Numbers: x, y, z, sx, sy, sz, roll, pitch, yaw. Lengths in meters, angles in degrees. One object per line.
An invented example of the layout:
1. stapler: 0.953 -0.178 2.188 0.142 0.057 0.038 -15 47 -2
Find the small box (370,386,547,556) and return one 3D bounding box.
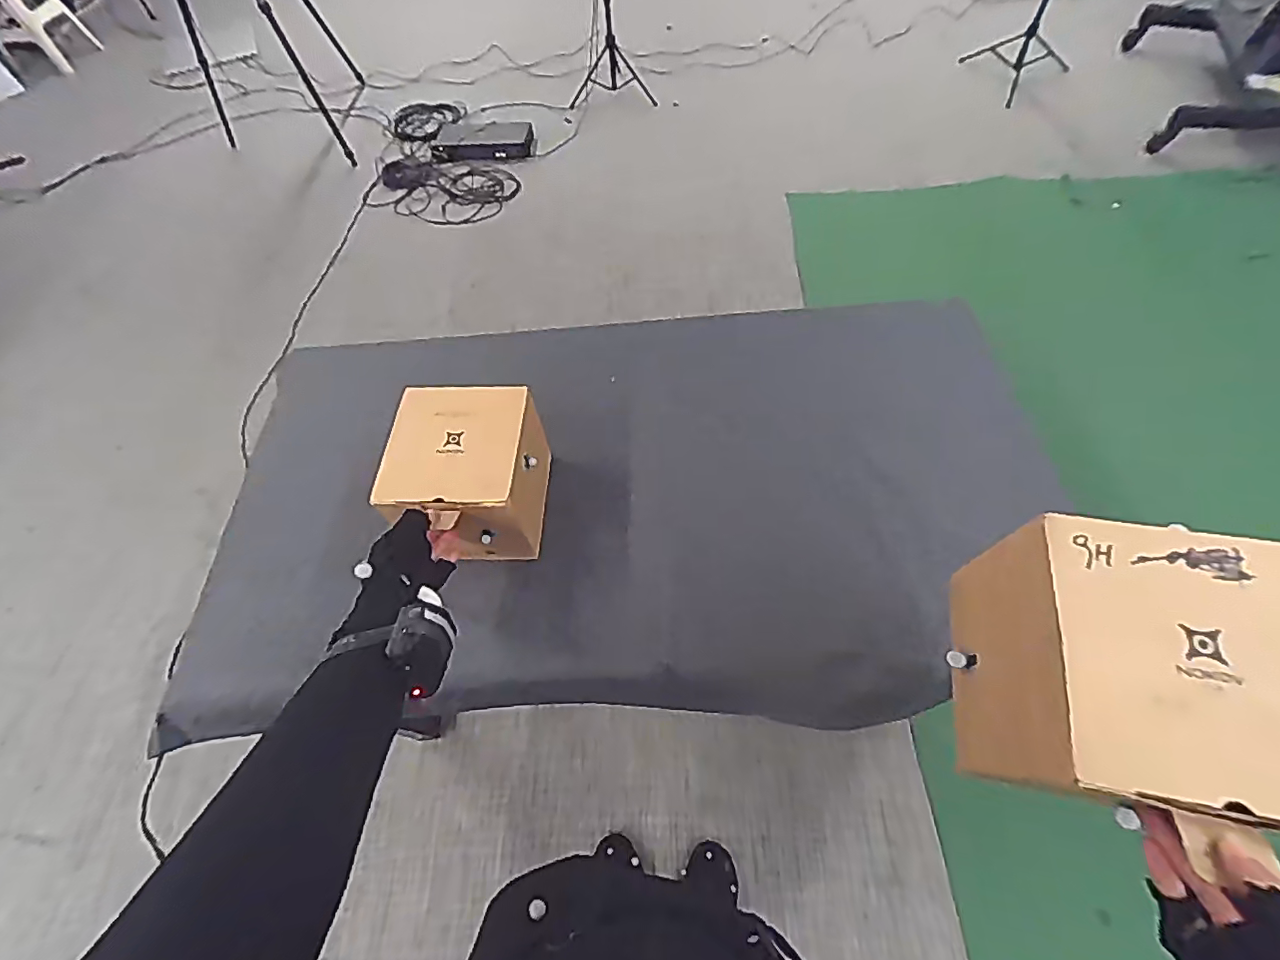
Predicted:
1. small box: -0.226 -0.006 0.728 0.168 0.176 0.179 0 58 2
